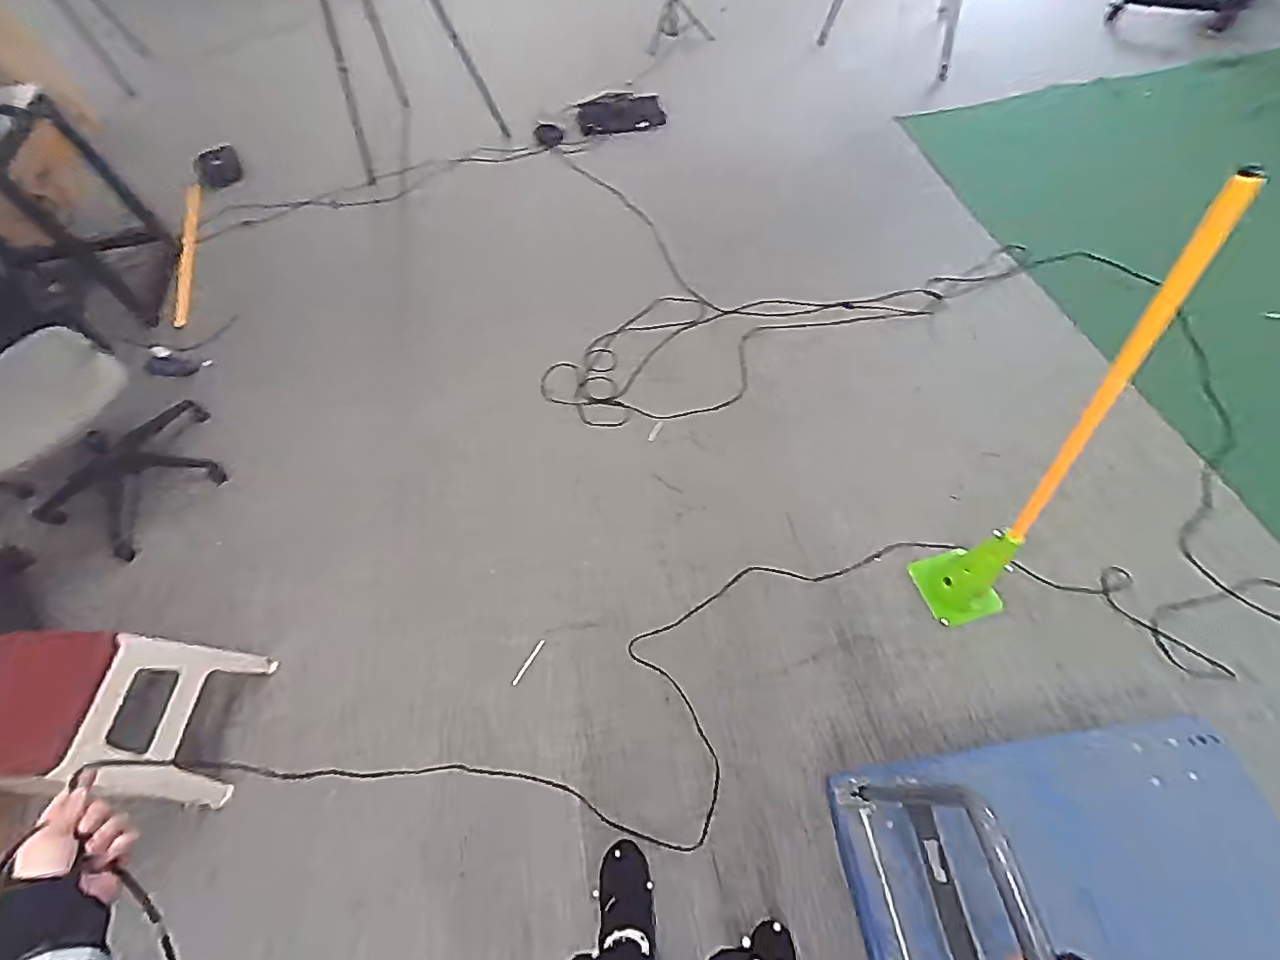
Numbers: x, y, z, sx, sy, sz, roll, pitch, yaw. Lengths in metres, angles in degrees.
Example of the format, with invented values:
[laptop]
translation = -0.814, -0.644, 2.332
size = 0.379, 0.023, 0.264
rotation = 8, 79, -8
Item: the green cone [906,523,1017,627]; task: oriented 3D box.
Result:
[green cone]
translation = 0.890, 0.218, 1.419
size = 0.200, 0.368, 0.202
rotation = -16, 57, -5
